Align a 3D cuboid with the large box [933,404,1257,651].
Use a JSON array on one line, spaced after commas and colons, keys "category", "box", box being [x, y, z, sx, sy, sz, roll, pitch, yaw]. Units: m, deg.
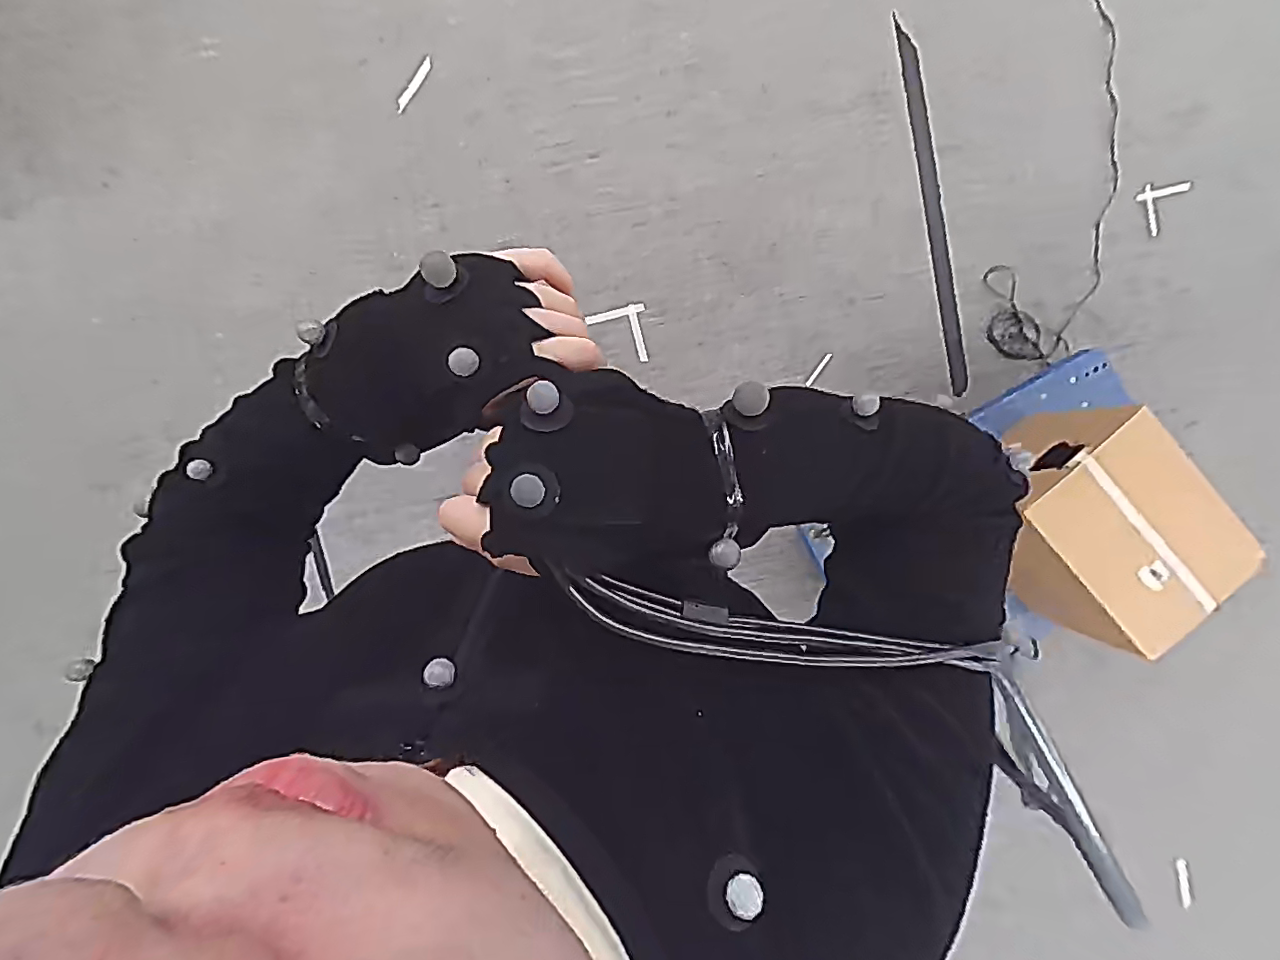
[{"category": "large box", "box": [0.966, 0.086, 1.199, 0.320, 0.320, 0.408, -42, 94, 2]}]
